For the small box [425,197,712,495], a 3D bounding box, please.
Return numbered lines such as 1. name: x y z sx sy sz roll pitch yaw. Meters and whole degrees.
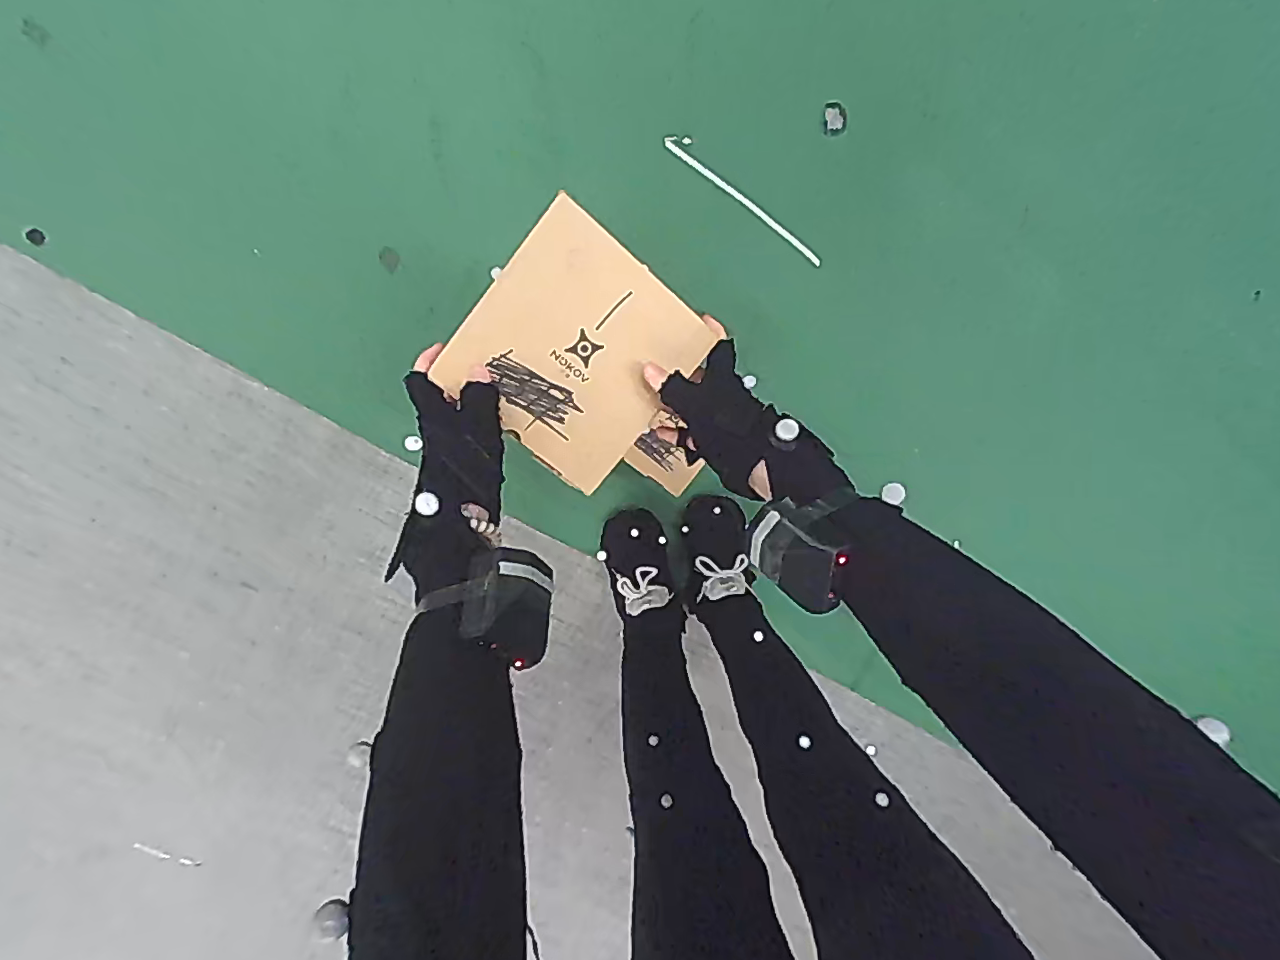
1. small box: -0.064 -0.120 0.506 0.168 0.176 0.179 38 98 -17
